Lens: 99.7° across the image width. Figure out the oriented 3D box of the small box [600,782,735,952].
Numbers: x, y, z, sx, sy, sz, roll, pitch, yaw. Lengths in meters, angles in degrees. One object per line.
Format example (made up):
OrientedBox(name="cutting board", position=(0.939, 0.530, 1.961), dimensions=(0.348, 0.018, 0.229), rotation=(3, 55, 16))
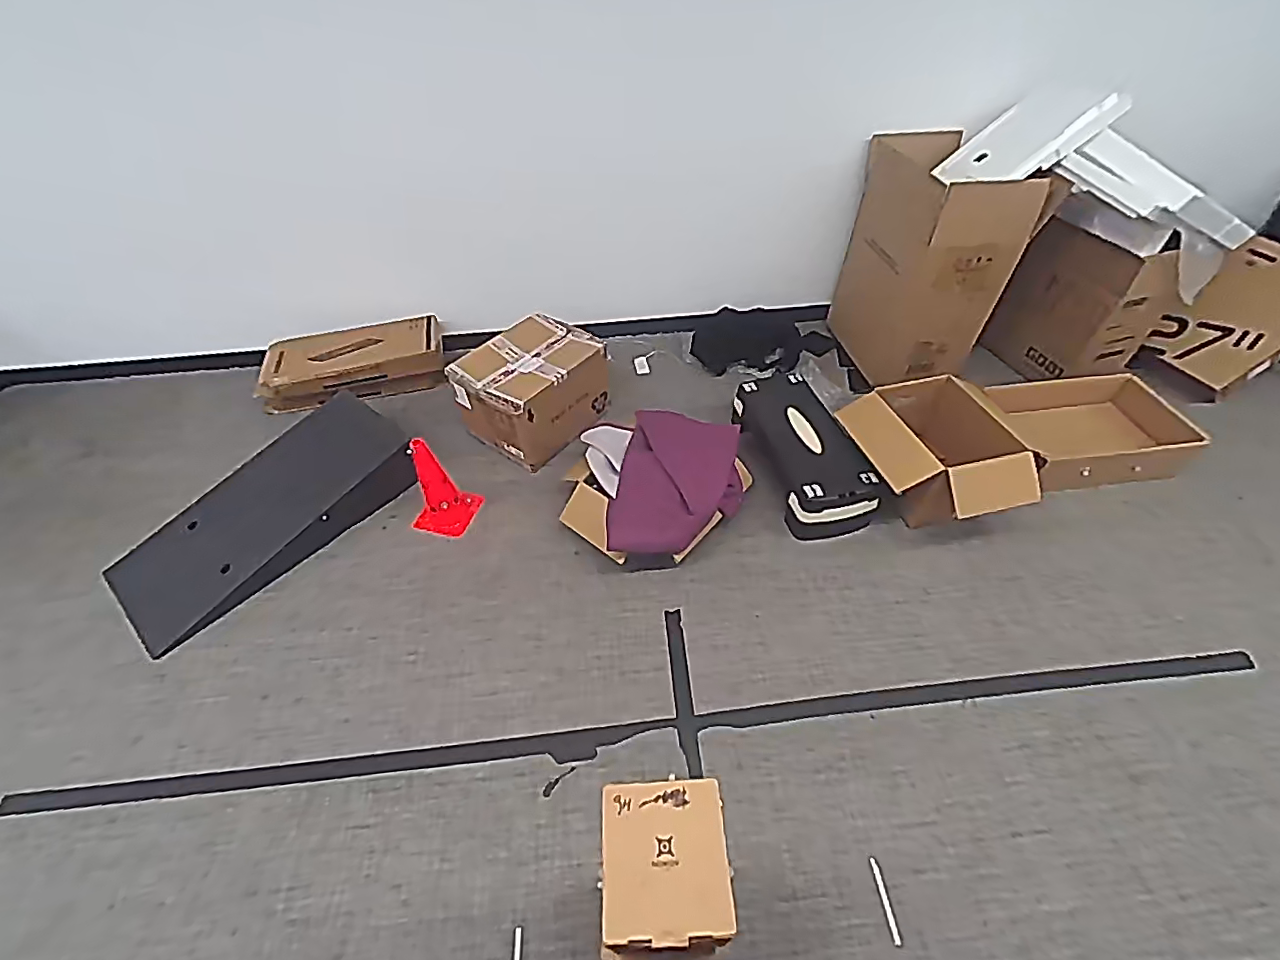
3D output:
OrientedBox(name="small box", position=(0.036, 0.543, 0.757), dimensions=(0.168, 0.176, 0.179), rotation=(-3, 47, 0))
